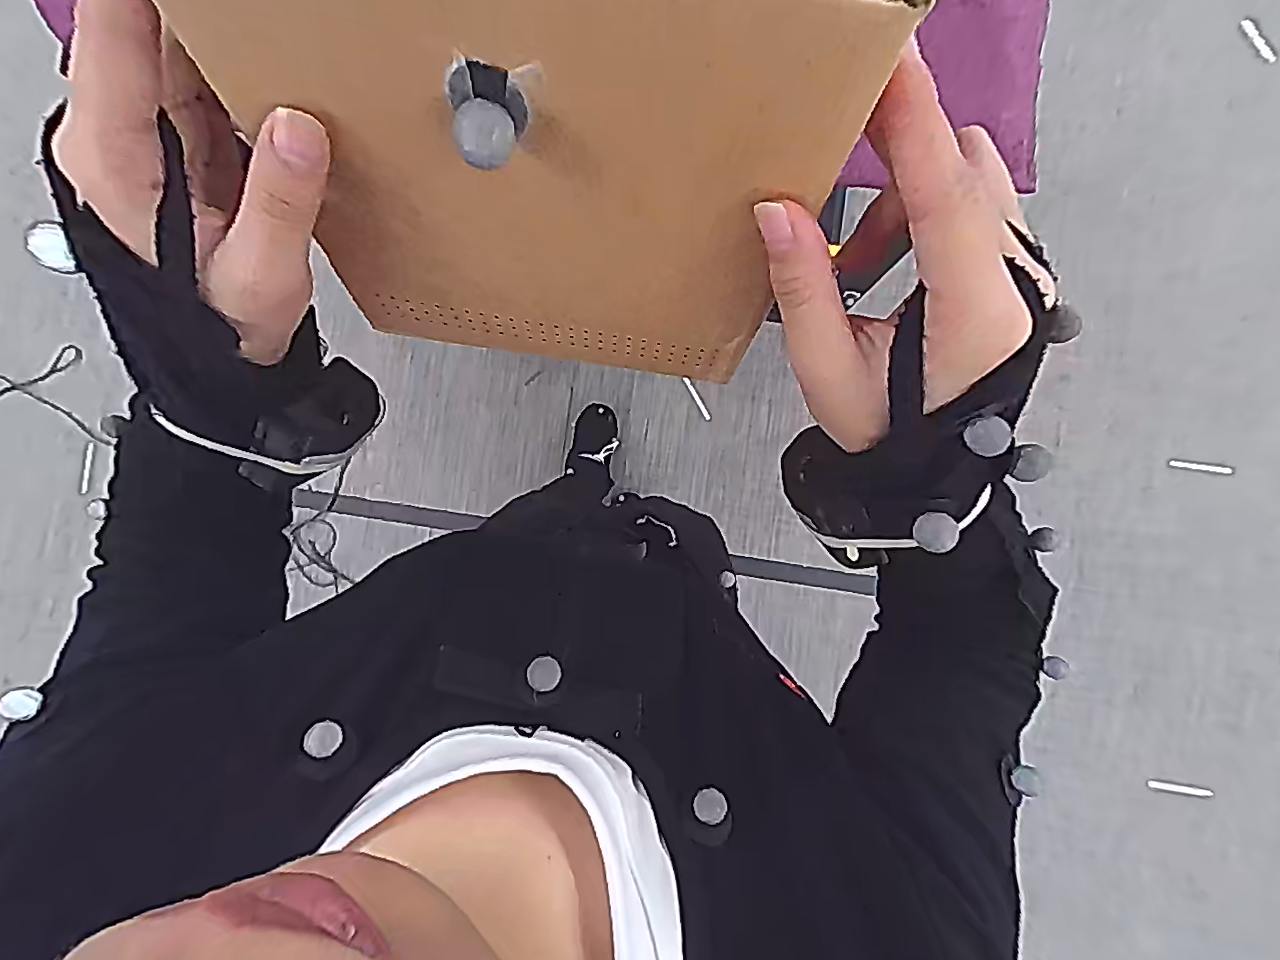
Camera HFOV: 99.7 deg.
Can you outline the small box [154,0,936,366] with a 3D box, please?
[{"bbox_3d":[-0.021,-0.160,0.201,0.179,0.176,0.168,8,73,-1],"label":"small box"}]
